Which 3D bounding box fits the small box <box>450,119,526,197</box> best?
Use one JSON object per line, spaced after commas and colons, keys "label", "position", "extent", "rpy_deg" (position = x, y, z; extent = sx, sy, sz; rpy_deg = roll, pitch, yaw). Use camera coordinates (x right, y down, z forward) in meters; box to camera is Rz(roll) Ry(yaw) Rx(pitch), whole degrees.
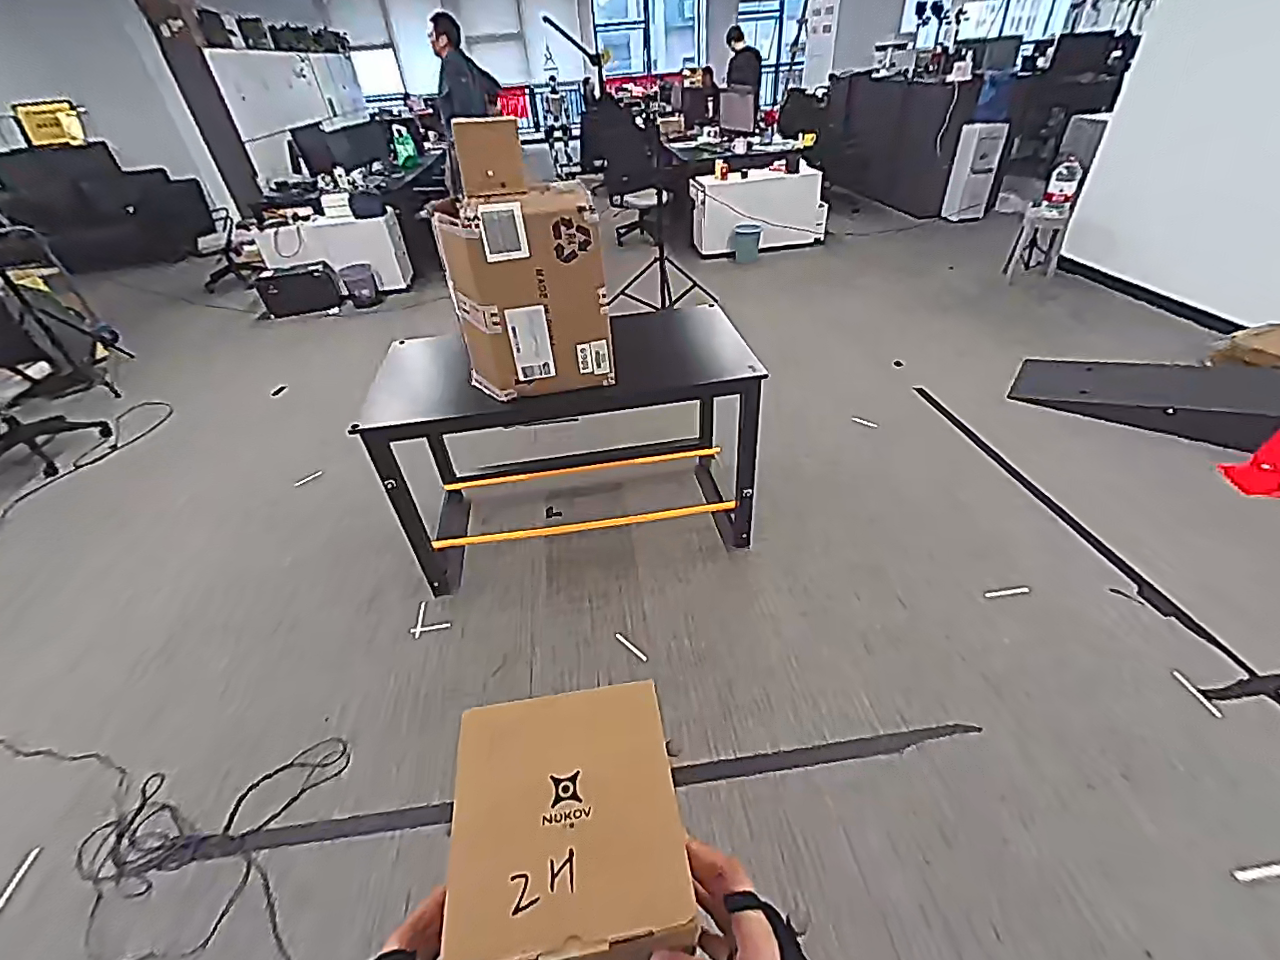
{"label": "small box", "position": [-0.408, -0.872, 1.463], "extent": [0.168, 0.176, 0.179], "rpy_deg": [-10, 36, -10]}
